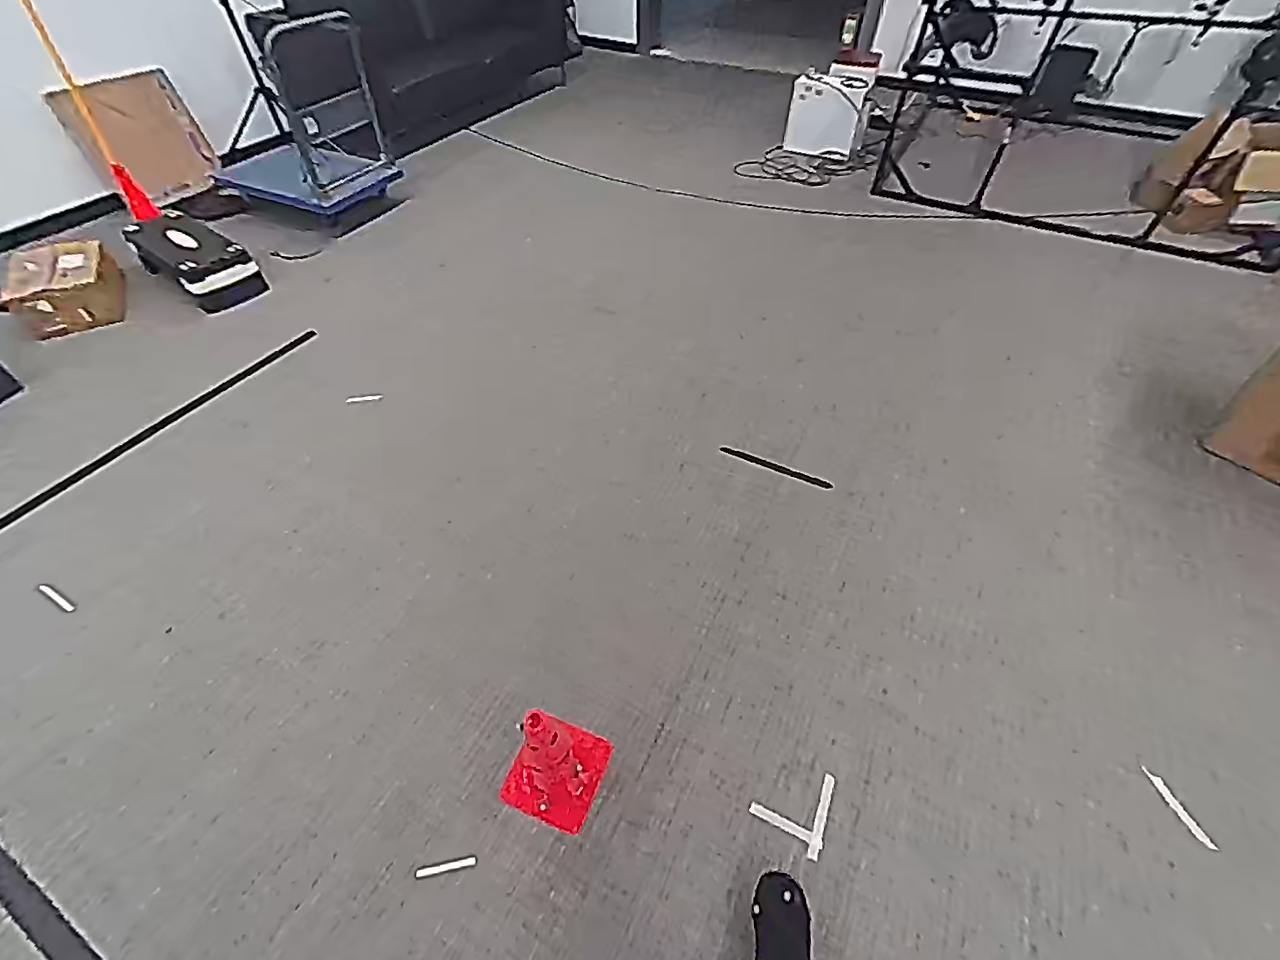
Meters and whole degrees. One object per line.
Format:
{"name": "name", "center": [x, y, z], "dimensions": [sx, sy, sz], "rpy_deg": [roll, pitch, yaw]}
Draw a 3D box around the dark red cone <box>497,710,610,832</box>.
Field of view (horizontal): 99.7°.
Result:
{"name": "dark red cone", "center": [-0.183, 0.523, 1.053], "dimensions": [0.202, 0.394, 0.201], "rpy_deg": [16, 52, 14]}
